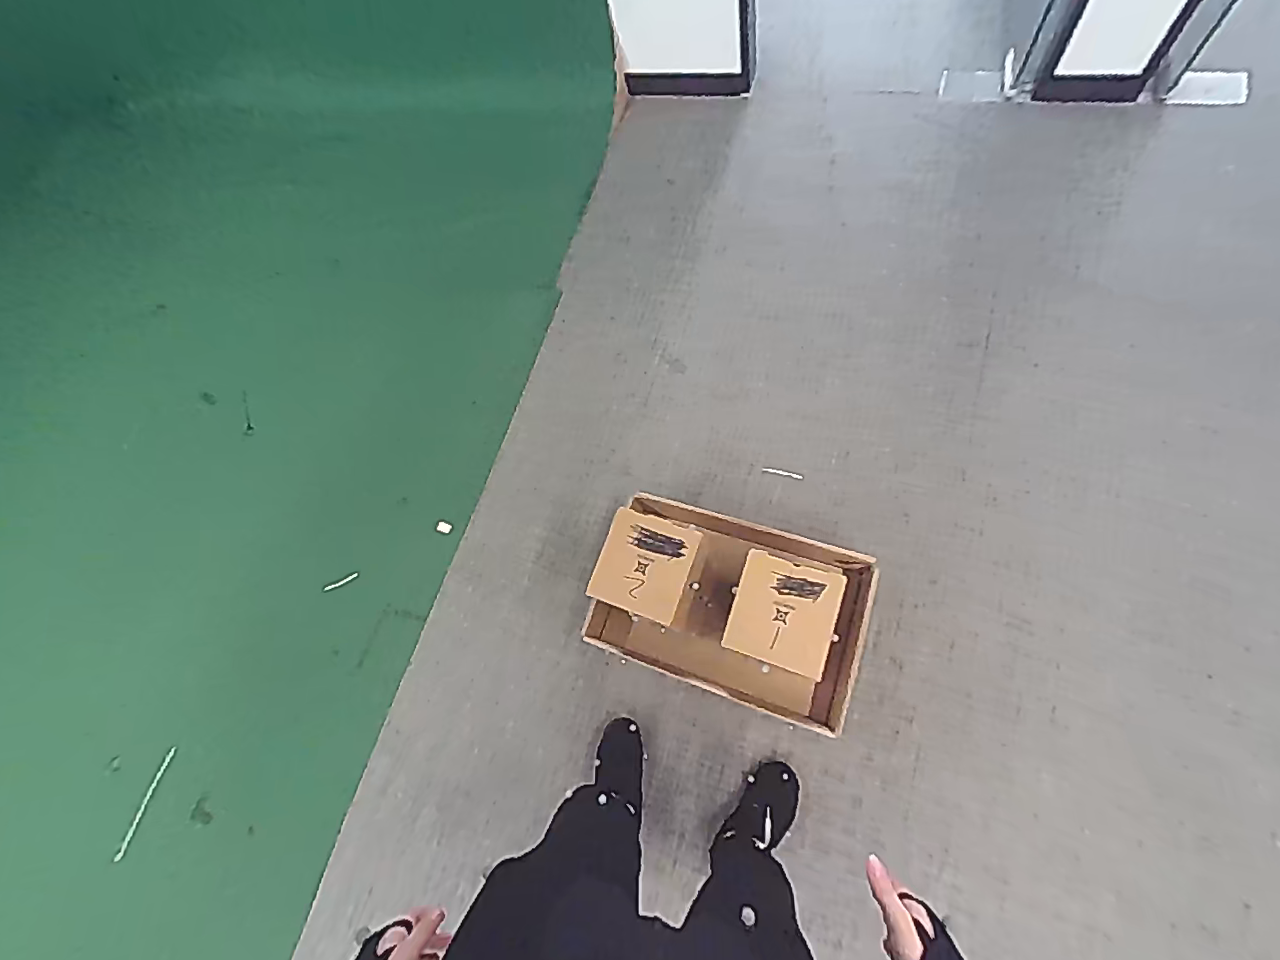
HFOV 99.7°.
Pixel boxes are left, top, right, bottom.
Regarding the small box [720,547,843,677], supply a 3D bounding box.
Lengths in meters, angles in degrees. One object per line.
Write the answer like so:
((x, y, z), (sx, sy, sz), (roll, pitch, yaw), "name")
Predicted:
((0.254, 0.241, 0.983), (0.168, 0.176, 0.179), (16, 76, 18), "small box")

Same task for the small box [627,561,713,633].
((0.083, 0.277, 1.356), (0.168, 0.176, 0.179), (15, 75, 14), "small box")

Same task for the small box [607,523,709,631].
((0.049, 0.222, 1.204), (0.168, 0.176, 0.179), (19, 76, 18), "small box")
